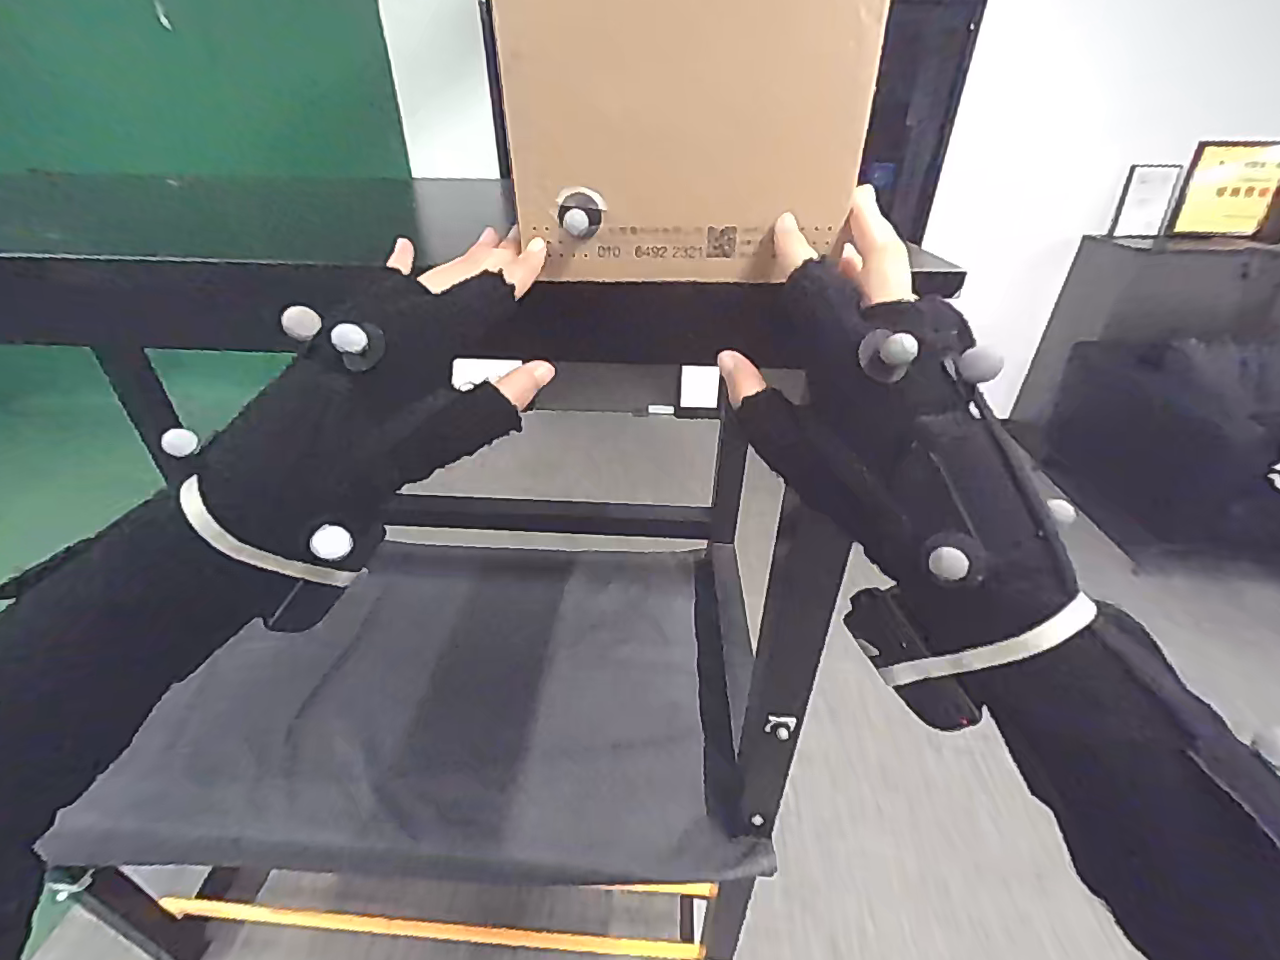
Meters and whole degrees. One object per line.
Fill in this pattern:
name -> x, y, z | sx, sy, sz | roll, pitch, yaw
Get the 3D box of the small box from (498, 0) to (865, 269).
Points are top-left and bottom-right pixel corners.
small box -> 0.025, -0.225, 0.316 | 0.168, 0.176, 0.179 | 3, 32, 4
